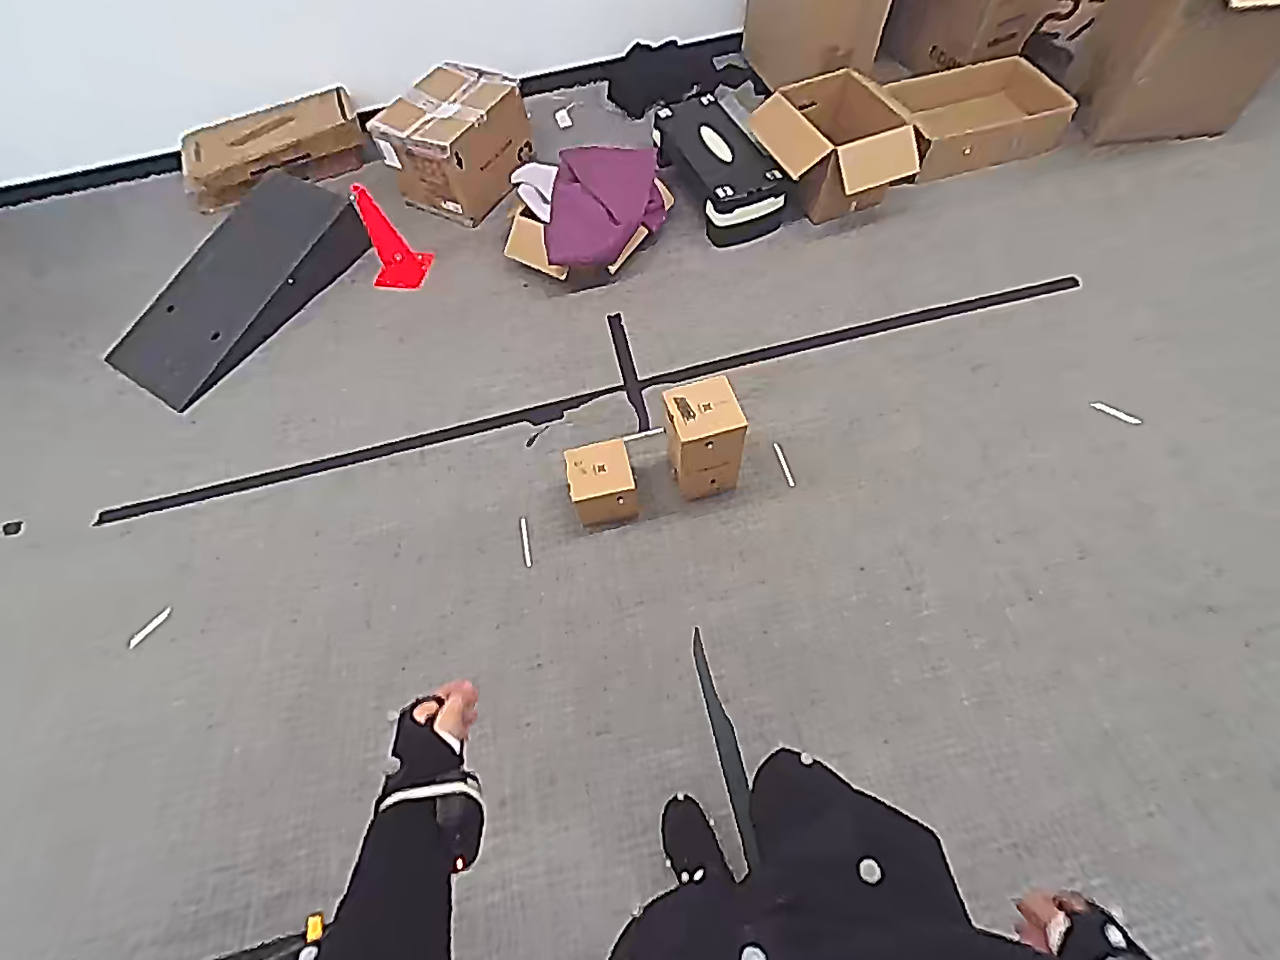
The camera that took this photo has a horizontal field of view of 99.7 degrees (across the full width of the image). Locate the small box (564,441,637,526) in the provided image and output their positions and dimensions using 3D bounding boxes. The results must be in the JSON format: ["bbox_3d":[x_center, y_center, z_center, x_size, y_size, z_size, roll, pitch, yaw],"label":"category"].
[{"bbox_3d":[-0.107,0.014,1.542,0.179,0.176,0.168,-13,62,-2],"label":"small box"}]

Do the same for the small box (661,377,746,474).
[{"bbox_3d":[0.163,-0.137,1.415,0.179,0.176,0.168,-15,62,-5],"label":"small box"}]

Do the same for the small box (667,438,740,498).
[{"bbox_3d":[0.180,-0.064,1.563,0.168,0.176,0.179,-16,63,-4],"label":"small box"}]
